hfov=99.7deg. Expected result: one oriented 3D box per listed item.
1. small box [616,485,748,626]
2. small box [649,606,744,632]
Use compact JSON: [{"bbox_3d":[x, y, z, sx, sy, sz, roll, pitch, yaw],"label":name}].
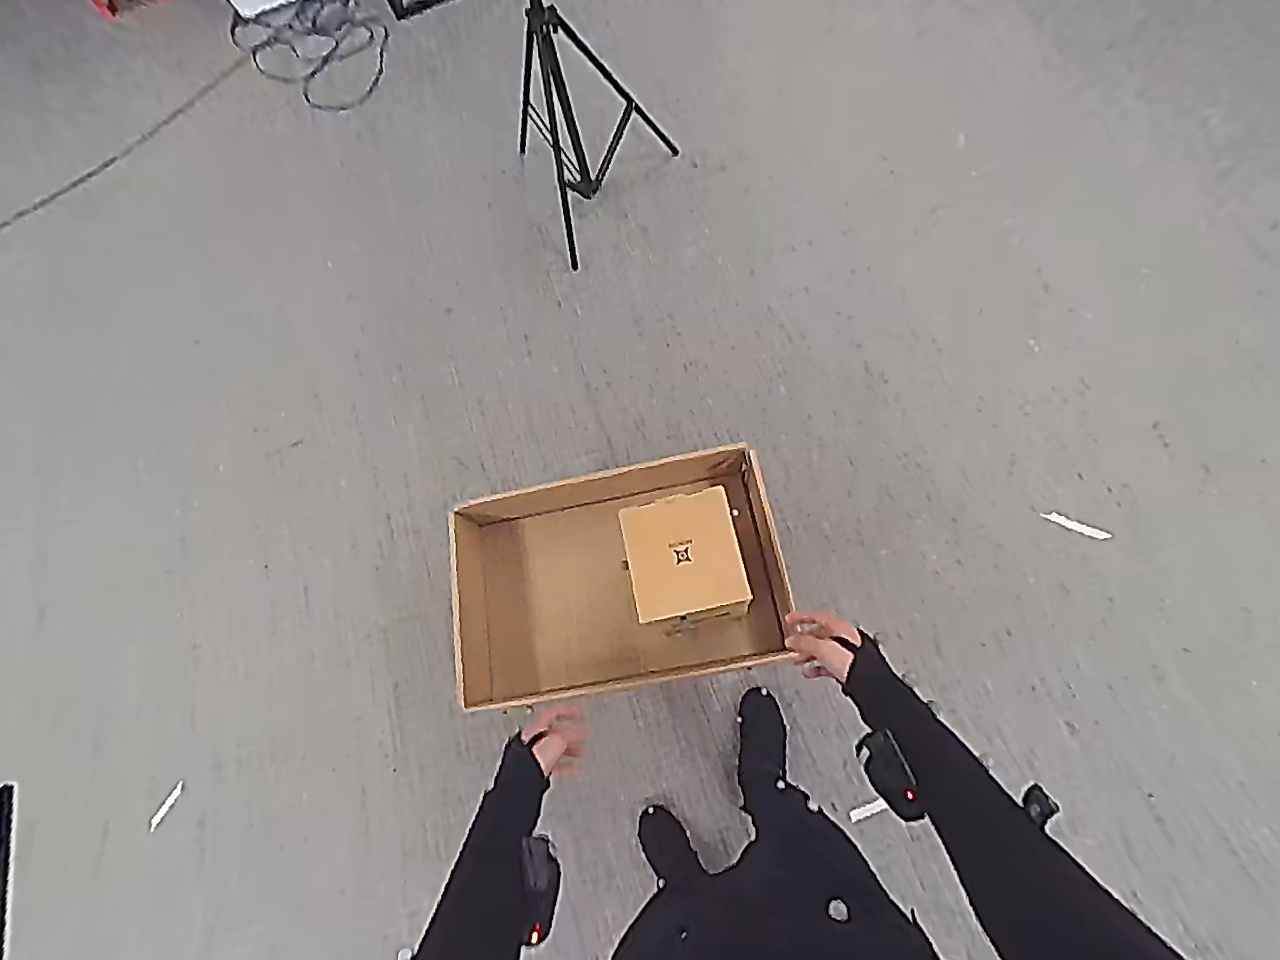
[{"bbox_3d":[0.070,0.129,0.857,0.168,0.176,0.179,-14,70,4],"label":"small box"},{"bbox_3d":[0.093,0.181,1.009,0.168,0.176,0.179,-14,70,4],"label":"small box"}]
